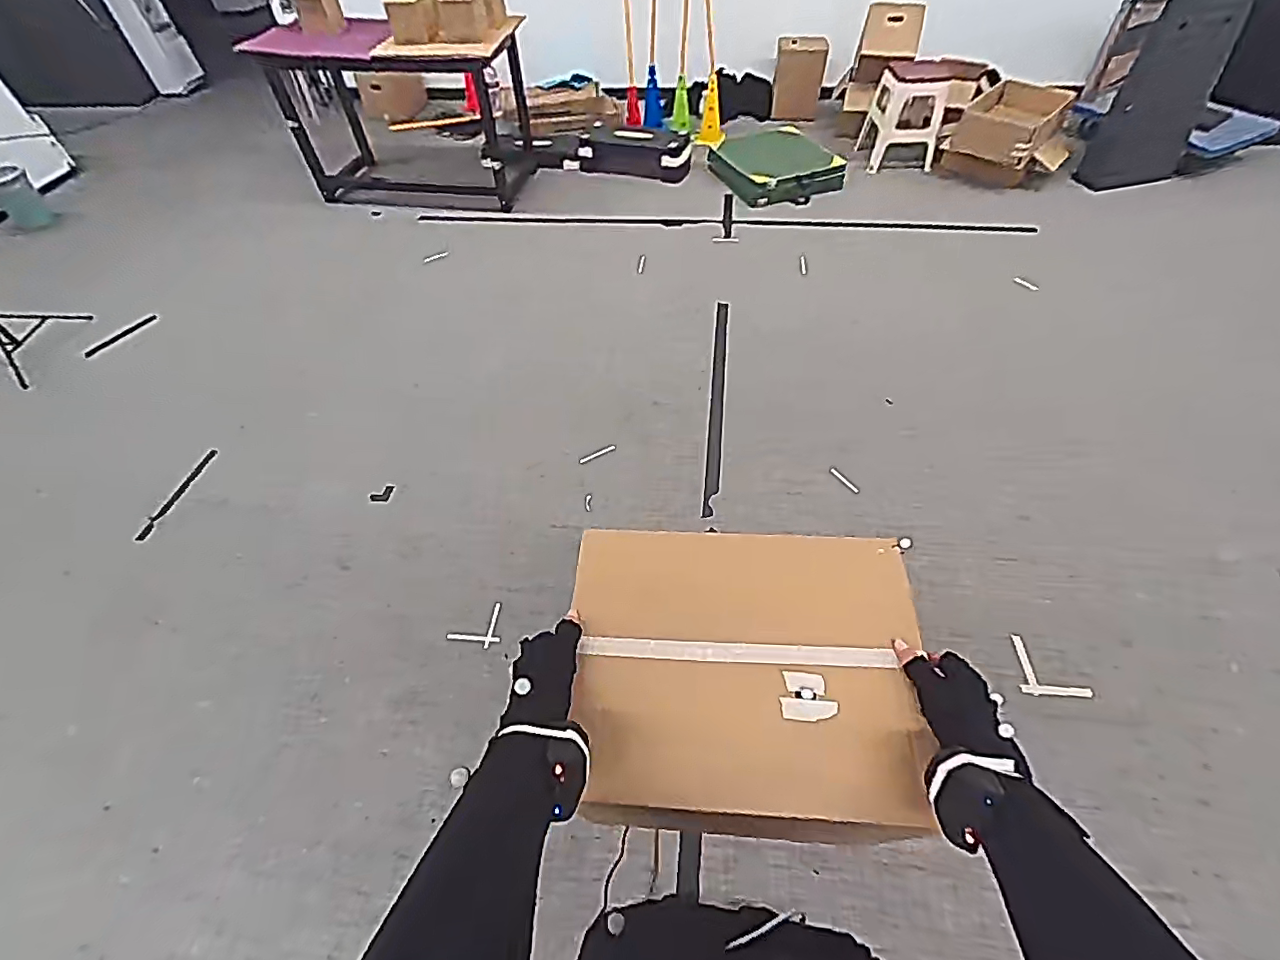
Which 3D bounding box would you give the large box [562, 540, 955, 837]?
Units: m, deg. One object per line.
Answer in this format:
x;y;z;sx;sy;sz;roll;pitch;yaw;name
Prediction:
0.128;0.295;0.751;0.408;0.320;0.320;1;55;4;large box
